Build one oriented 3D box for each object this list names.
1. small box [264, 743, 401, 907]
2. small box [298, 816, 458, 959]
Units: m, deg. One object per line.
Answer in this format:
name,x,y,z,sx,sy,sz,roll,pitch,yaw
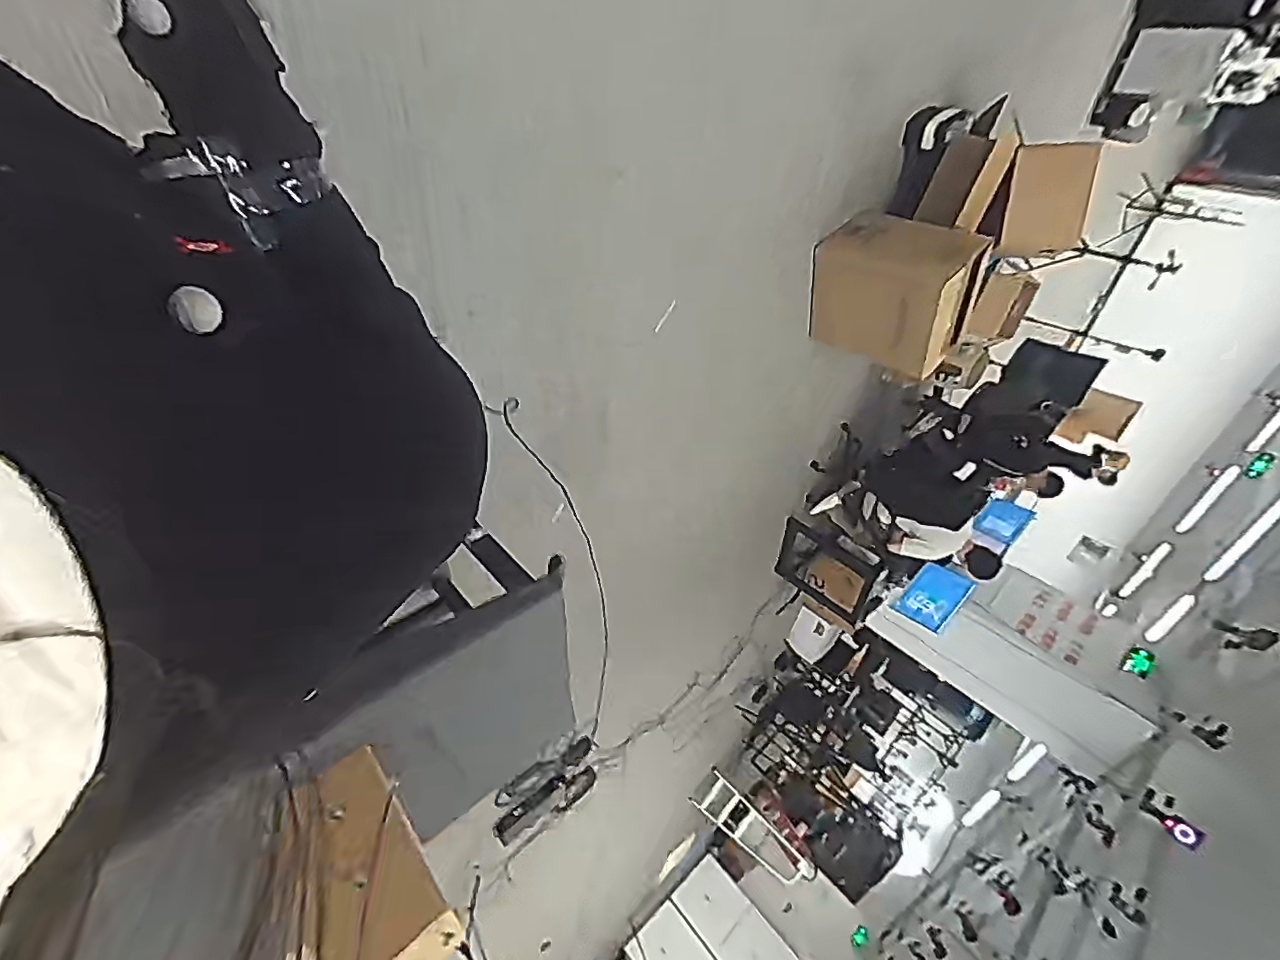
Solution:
small box,-0.535,0.618,0.961,0.179,0.176,0.168,-29,138,-31
small box,-0.424,0.700,0.874,0.179,0.176,0.168,-27,138,-34
